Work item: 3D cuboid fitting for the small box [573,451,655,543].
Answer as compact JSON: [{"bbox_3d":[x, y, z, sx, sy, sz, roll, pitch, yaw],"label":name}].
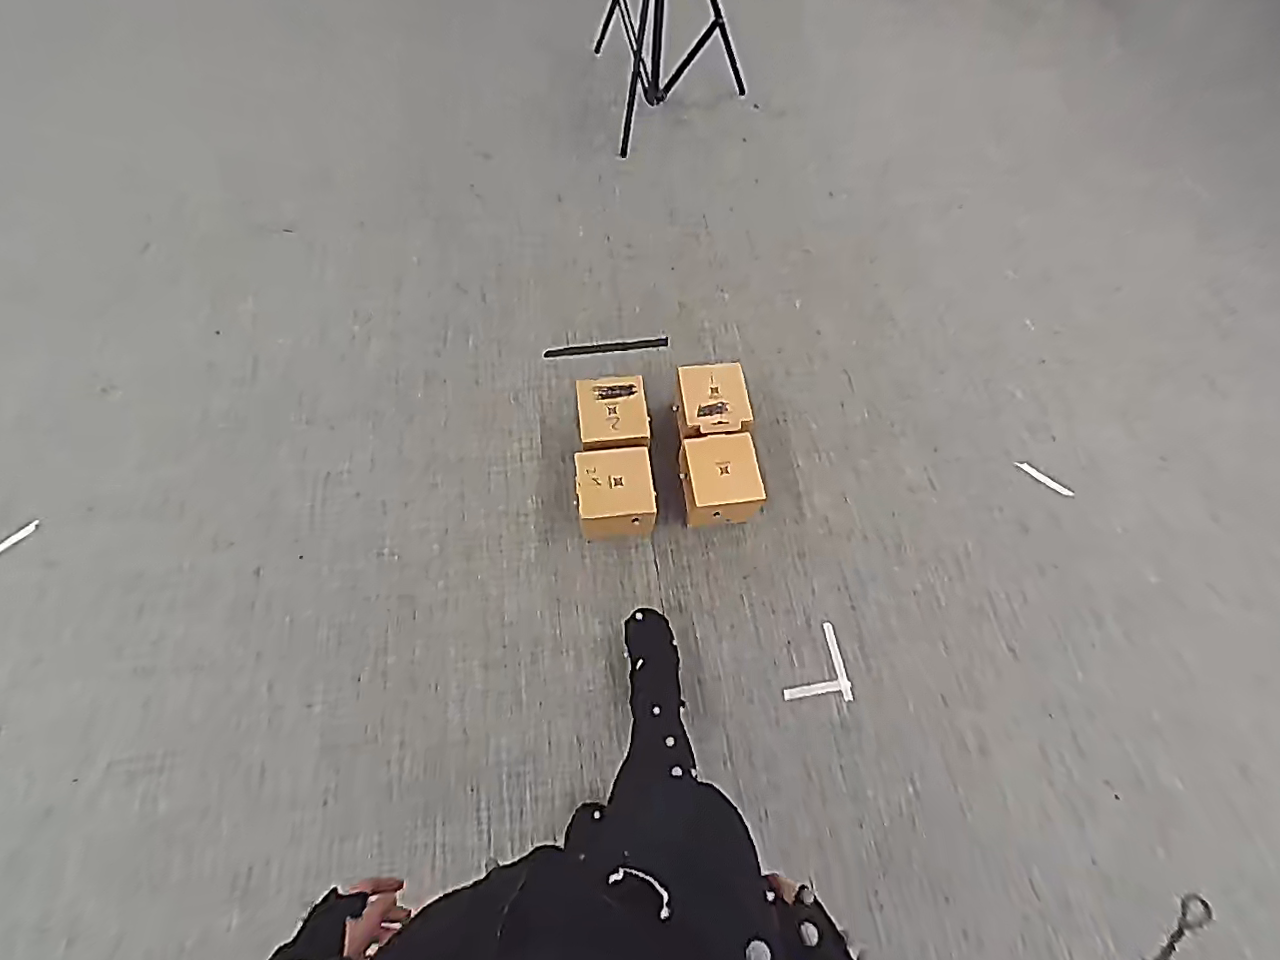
[{"bbox_3d":[-0.065,0.044,1.301,0.179,0.176,0.168,-6,67,-5],"label":"small box"}]
